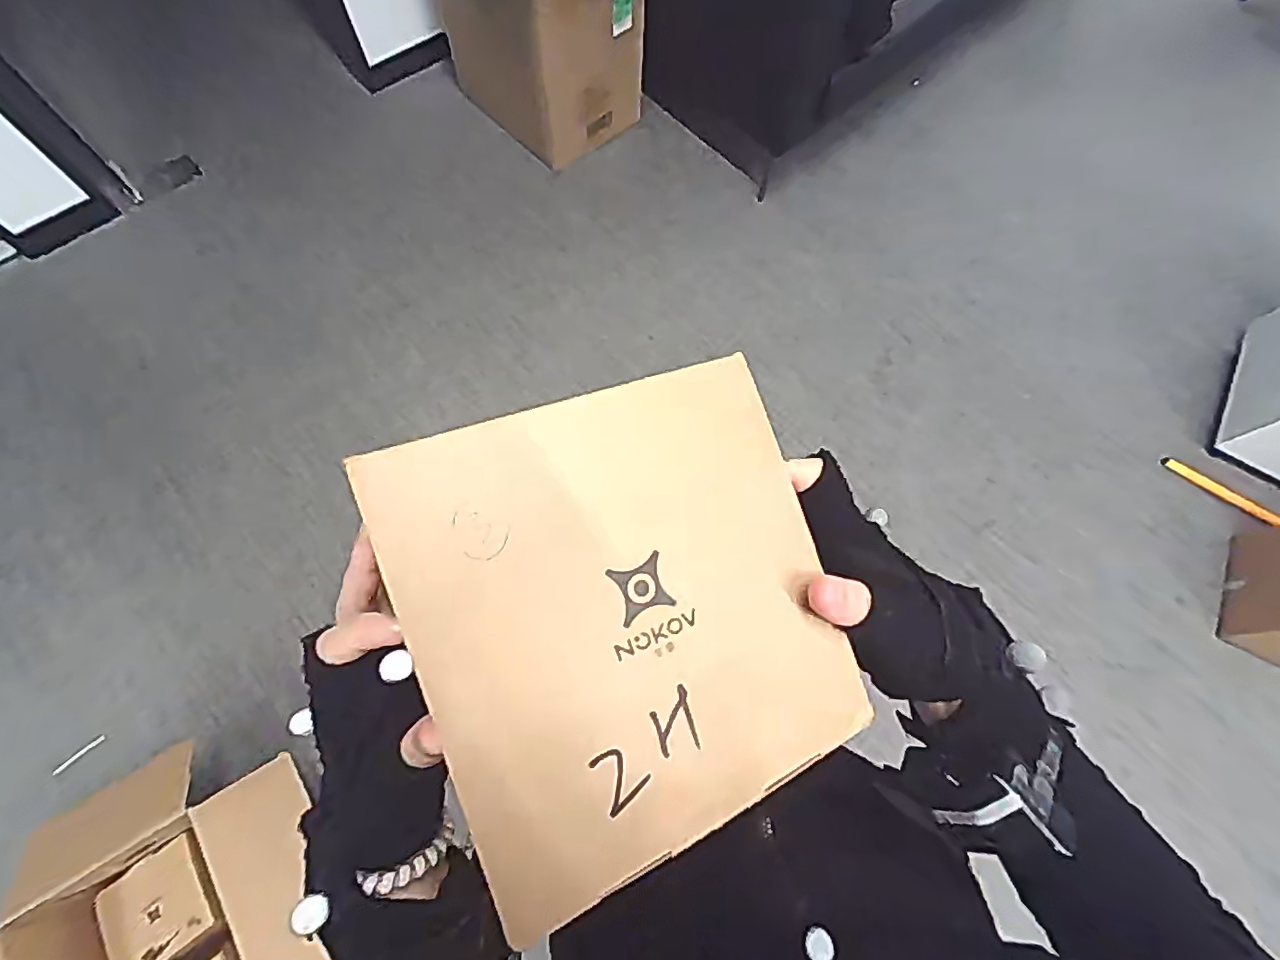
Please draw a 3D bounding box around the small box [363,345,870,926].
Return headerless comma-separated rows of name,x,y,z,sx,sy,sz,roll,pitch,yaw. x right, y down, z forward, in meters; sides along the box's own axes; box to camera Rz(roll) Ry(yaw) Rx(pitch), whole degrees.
small box,-0.025,0.055,0.282,0.168,0.176,0.179,-19,89,-22
